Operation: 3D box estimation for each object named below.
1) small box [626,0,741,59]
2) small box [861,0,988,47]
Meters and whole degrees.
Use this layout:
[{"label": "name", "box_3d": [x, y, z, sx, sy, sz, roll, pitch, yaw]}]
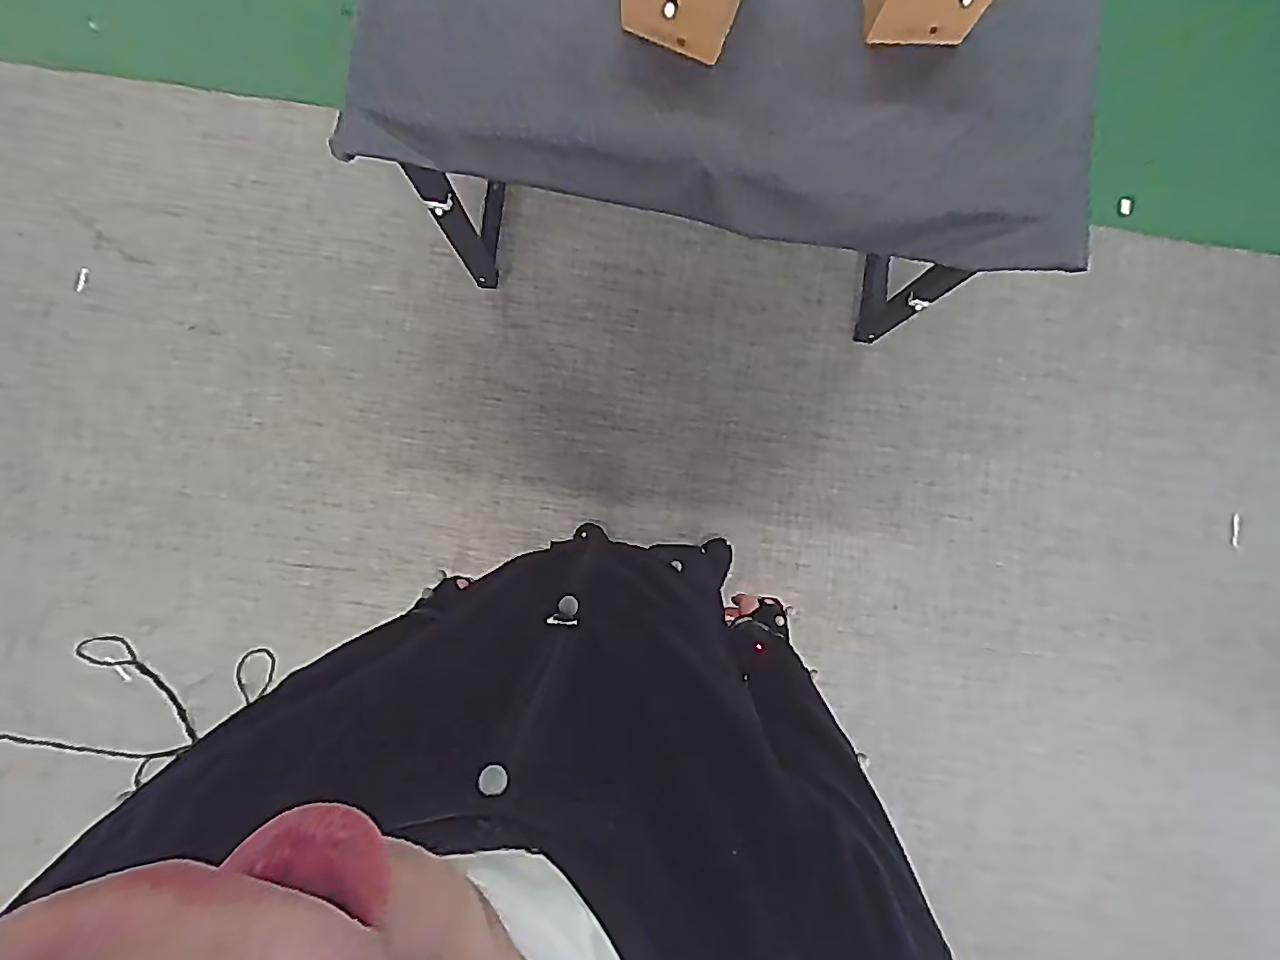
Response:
[{"label": "small box", "box_3d": [0.082, -0.786, 0.800, 0.168, 0.176, 0.179, 22, 86, -2]}, {"label": "small box", "box_3d": [0.453, -0.809, 0.823, 0.168, 0.176, 0.179, -1, 86, -4]}]
